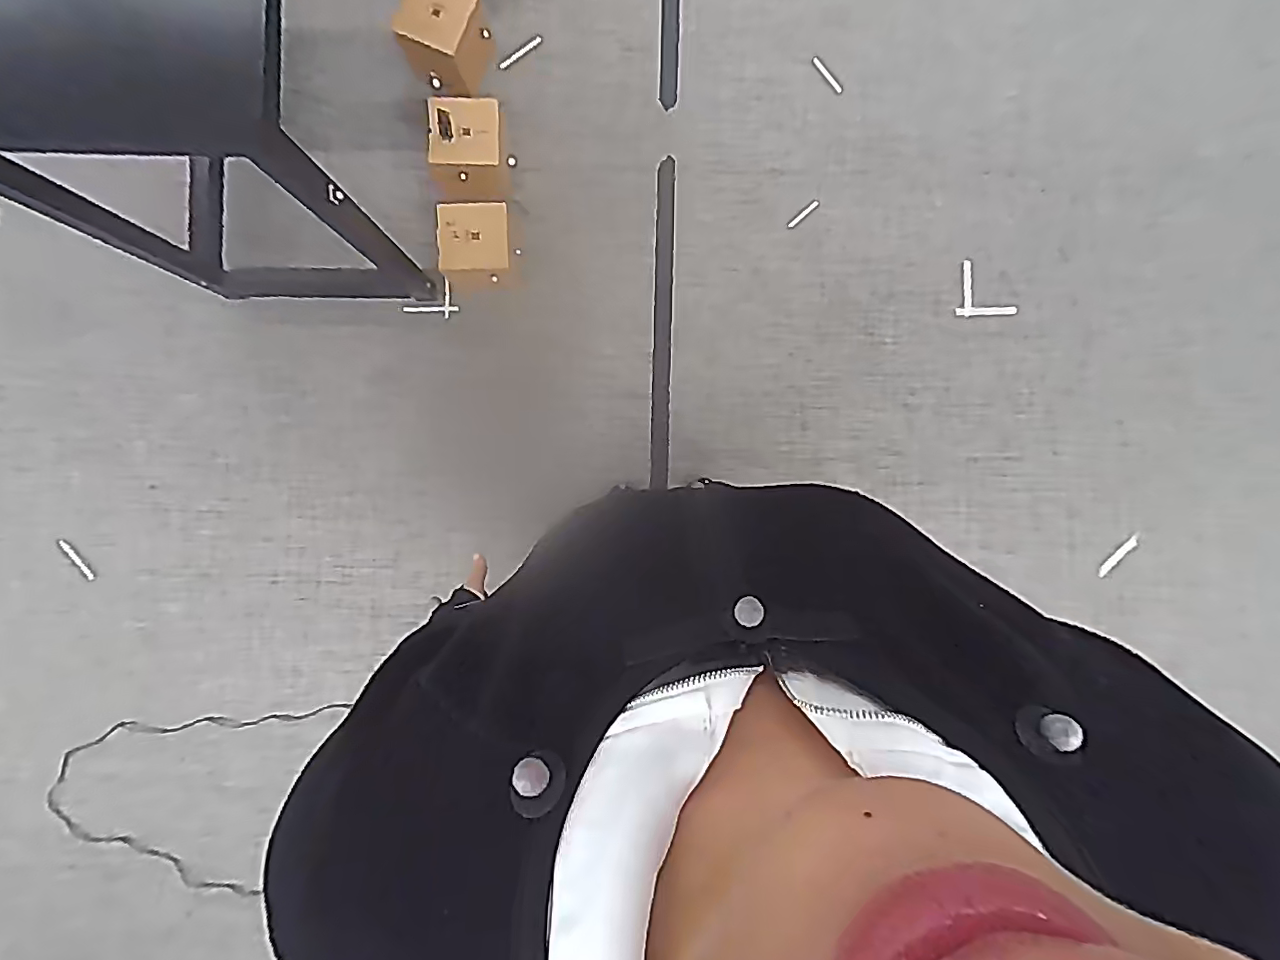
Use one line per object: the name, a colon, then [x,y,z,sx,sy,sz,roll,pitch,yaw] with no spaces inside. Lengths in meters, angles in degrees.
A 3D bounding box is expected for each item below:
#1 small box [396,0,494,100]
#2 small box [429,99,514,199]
small box: [-0.500,-1.158,1.421,0.168,0.176,0.179,22,91,0]
small box: [-0.438,-0.863,1.422,0.179,0.176,0.168,0,91,-2]
